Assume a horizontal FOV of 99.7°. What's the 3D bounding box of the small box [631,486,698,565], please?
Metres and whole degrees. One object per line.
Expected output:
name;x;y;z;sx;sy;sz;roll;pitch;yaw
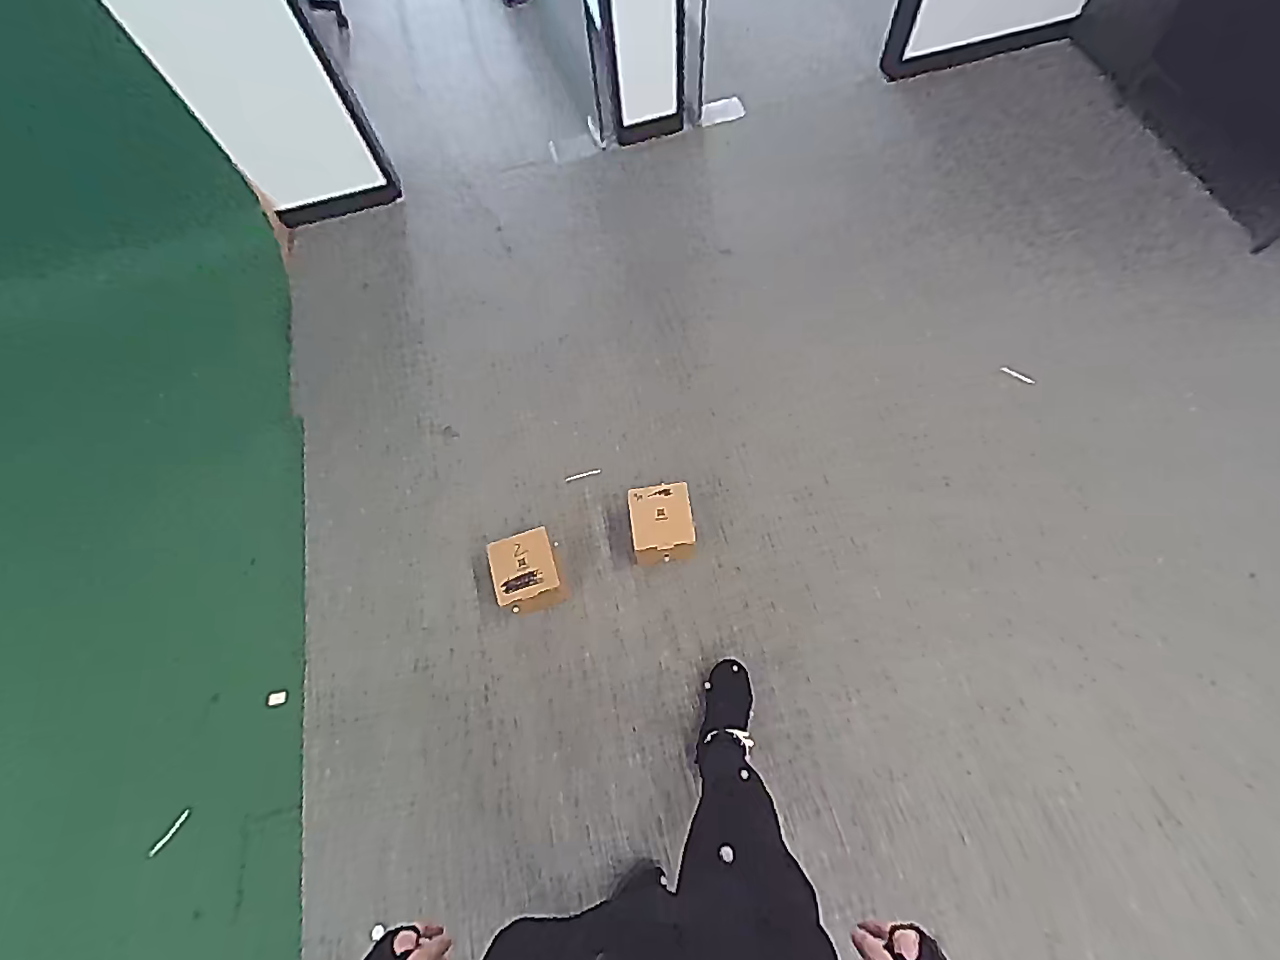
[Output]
small box;0.070;0.134;1.514;0.168;0.176;0.179;-8;67;1
